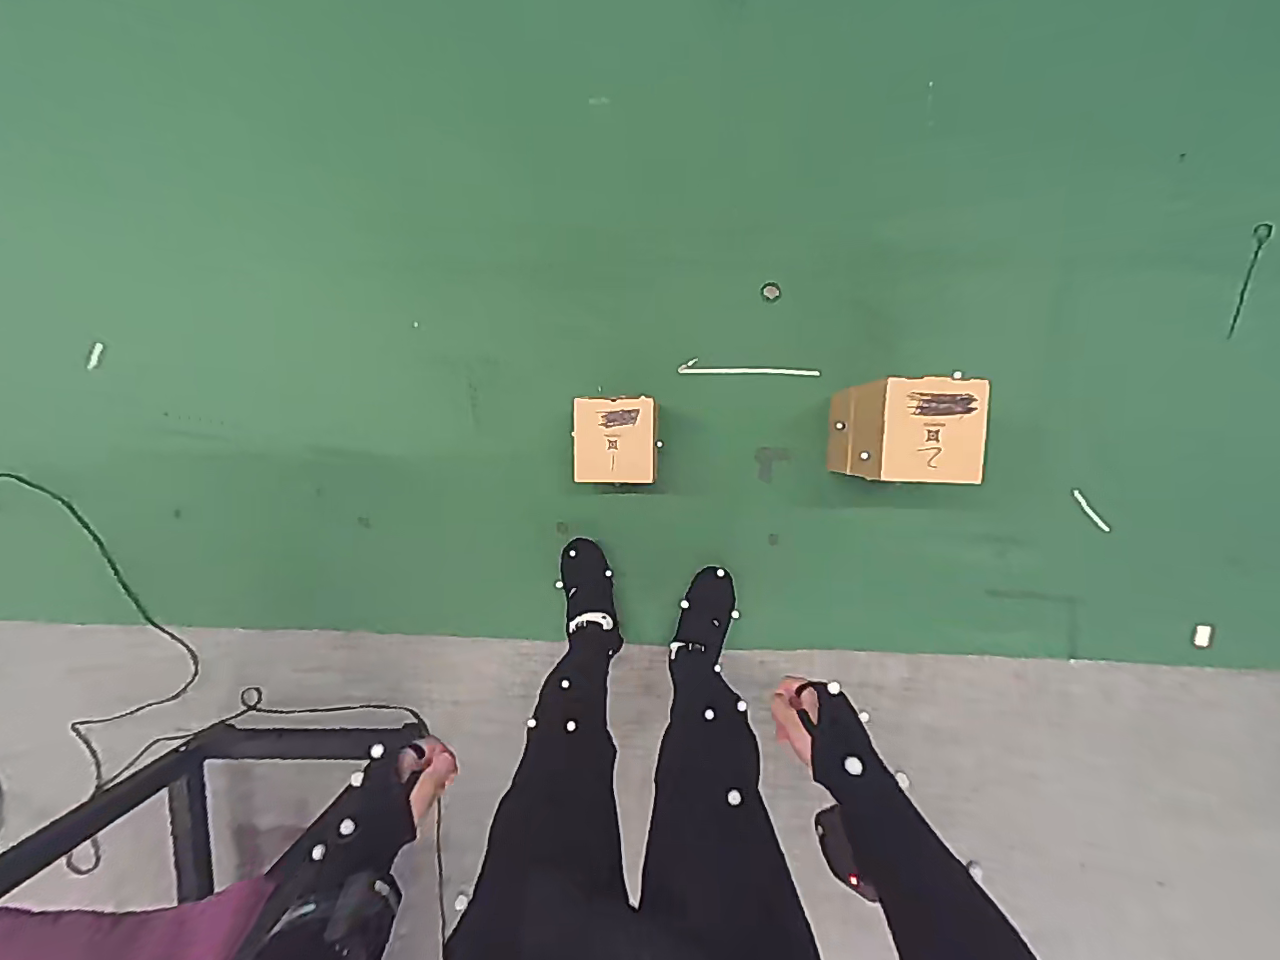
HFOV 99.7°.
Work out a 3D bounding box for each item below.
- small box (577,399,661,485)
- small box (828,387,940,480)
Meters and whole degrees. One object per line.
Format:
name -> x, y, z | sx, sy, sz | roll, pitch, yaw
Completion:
small box -> -0.042, -0.083, 1.184 | 0.168, 0.176, 0.179 | 1, 95, 5
small box -> 0.504, -0.096, 1.138 | 0.168, 0.176, 0.179 | 3, 95, 4
